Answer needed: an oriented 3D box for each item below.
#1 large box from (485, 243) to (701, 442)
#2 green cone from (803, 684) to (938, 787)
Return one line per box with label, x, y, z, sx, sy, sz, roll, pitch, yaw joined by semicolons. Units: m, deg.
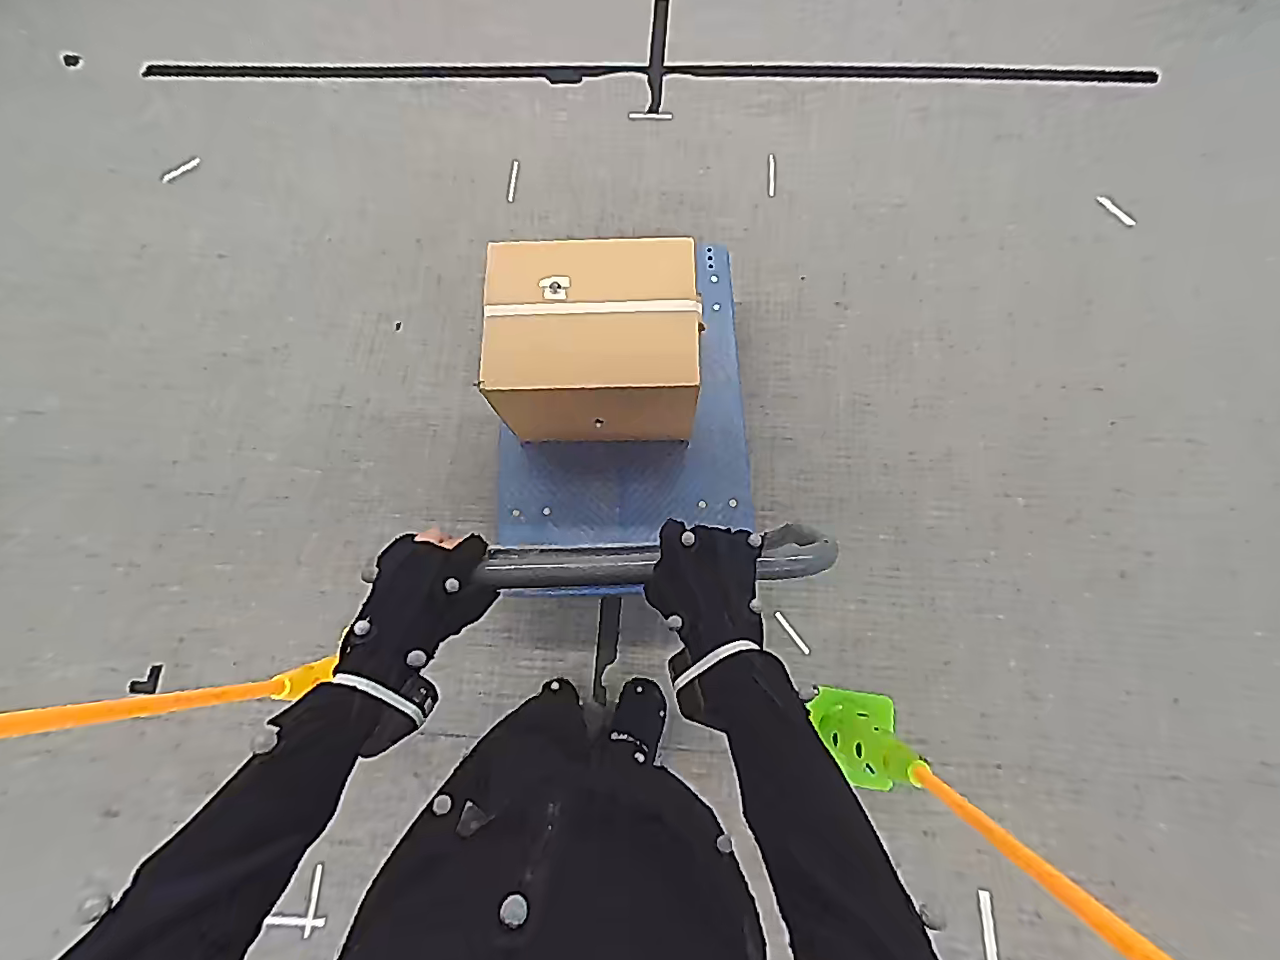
large box;-0.082;-0.273;1.167;0.408;0.320;0.320;-1;76;2
green cone;0.477;0.541;1.078;0.202;0.368;0.200;7;75;3
